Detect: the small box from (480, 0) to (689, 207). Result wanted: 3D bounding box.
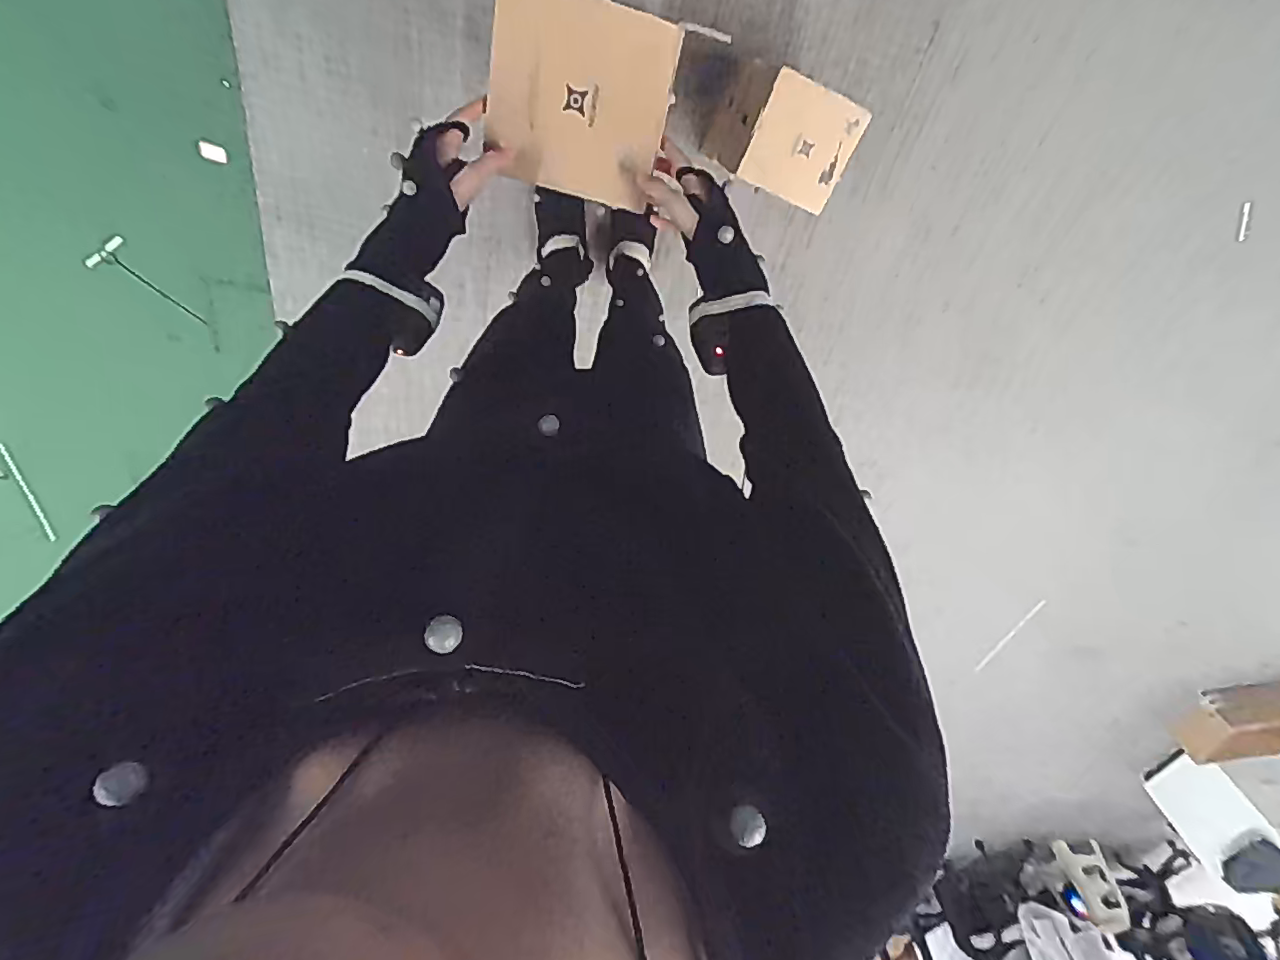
[{"bbox_3d":[-0.065,-0.415,0.591,0.179,0.176,0.168,10,118,-12],"label":"small box"}]

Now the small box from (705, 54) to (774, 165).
[{"bbox_3d":[0.243,-0.716,1.084,0.168,0.176,0.179,16,125,-15],"label":"small box"}]

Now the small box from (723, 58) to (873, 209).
[{"bbox_3d":[0.265,-0.611,0.959,0.179,0.176,0.168,16,124,-15],"label":"small box"}]
